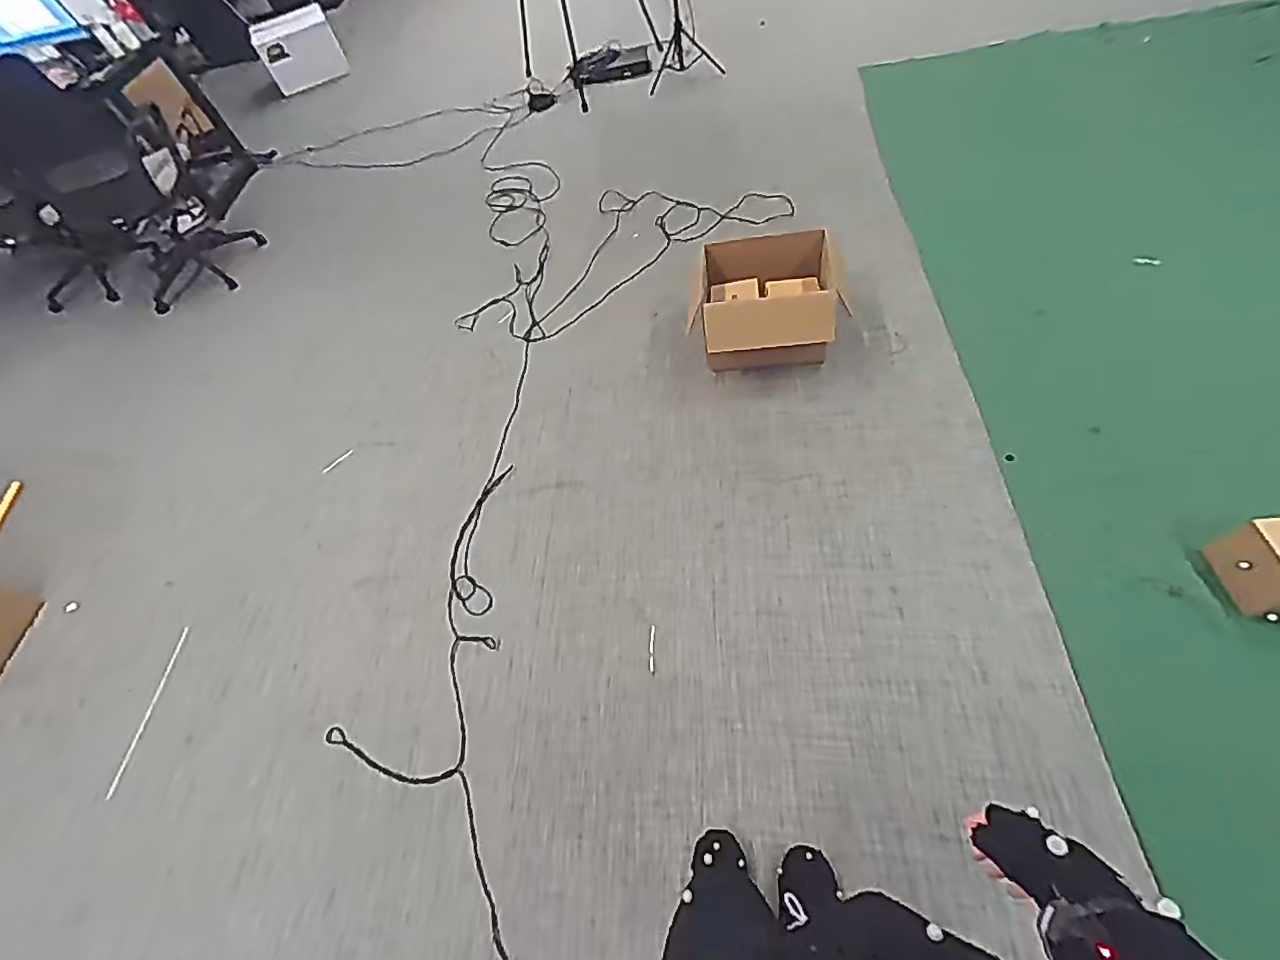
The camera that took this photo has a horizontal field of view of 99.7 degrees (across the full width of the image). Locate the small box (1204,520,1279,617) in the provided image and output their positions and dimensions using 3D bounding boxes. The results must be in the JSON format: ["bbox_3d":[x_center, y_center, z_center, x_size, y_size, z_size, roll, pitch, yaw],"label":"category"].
[{"bbox_3d":[1.455,0.201,1.213,0.168,0.176,0.179,-5,56,8],"label":"small box"}]
